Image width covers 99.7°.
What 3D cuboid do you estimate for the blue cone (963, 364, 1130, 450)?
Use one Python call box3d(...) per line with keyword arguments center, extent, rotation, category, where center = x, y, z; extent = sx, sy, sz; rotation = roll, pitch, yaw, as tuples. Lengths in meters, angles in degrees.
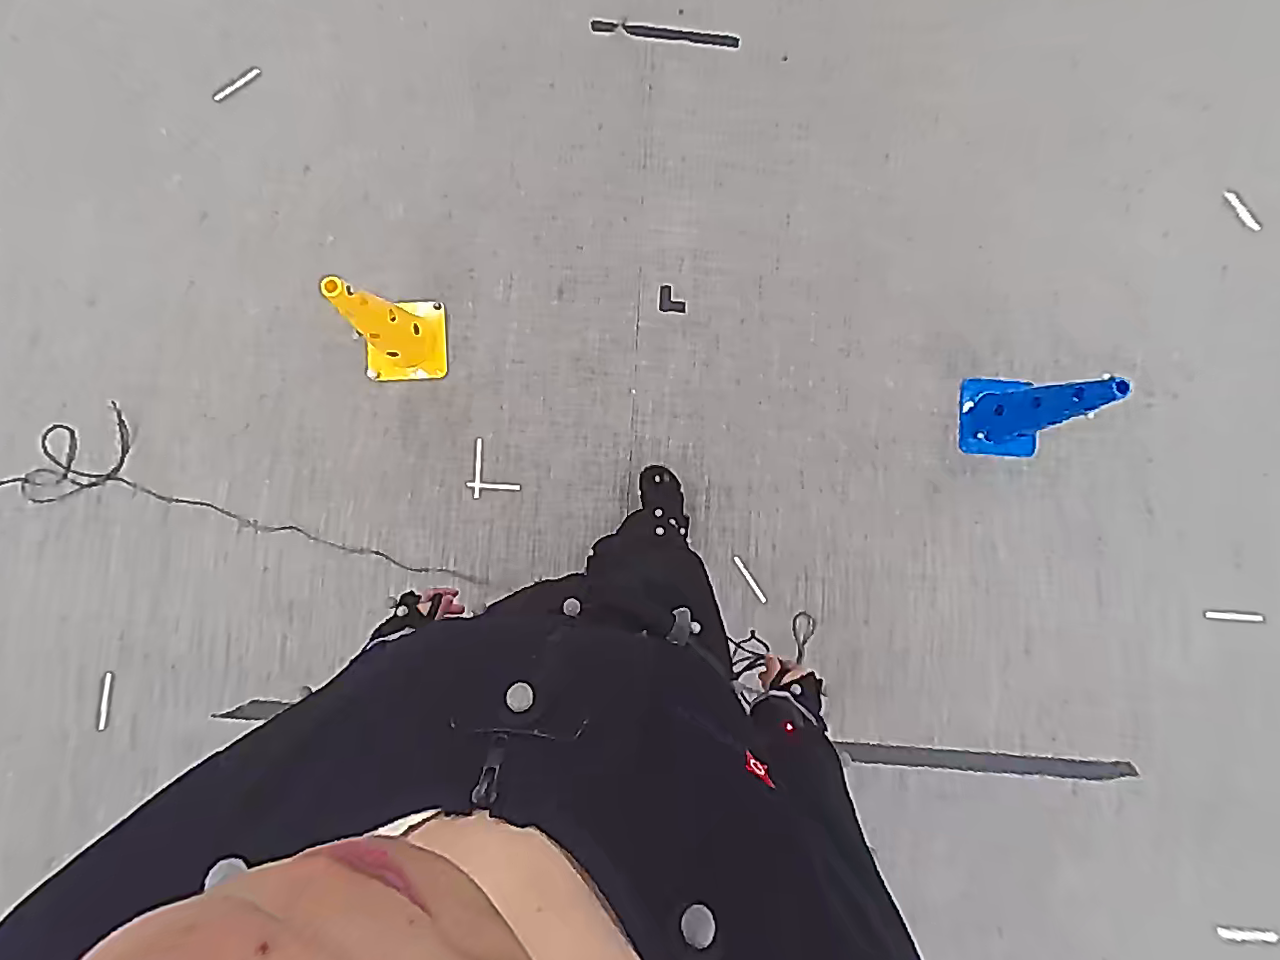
box3d(center=(0.935, -0.185, 1.237), extent=(0.193, 0.380, 0.192), rotation=(5, 86, -1), category="blue cone")
